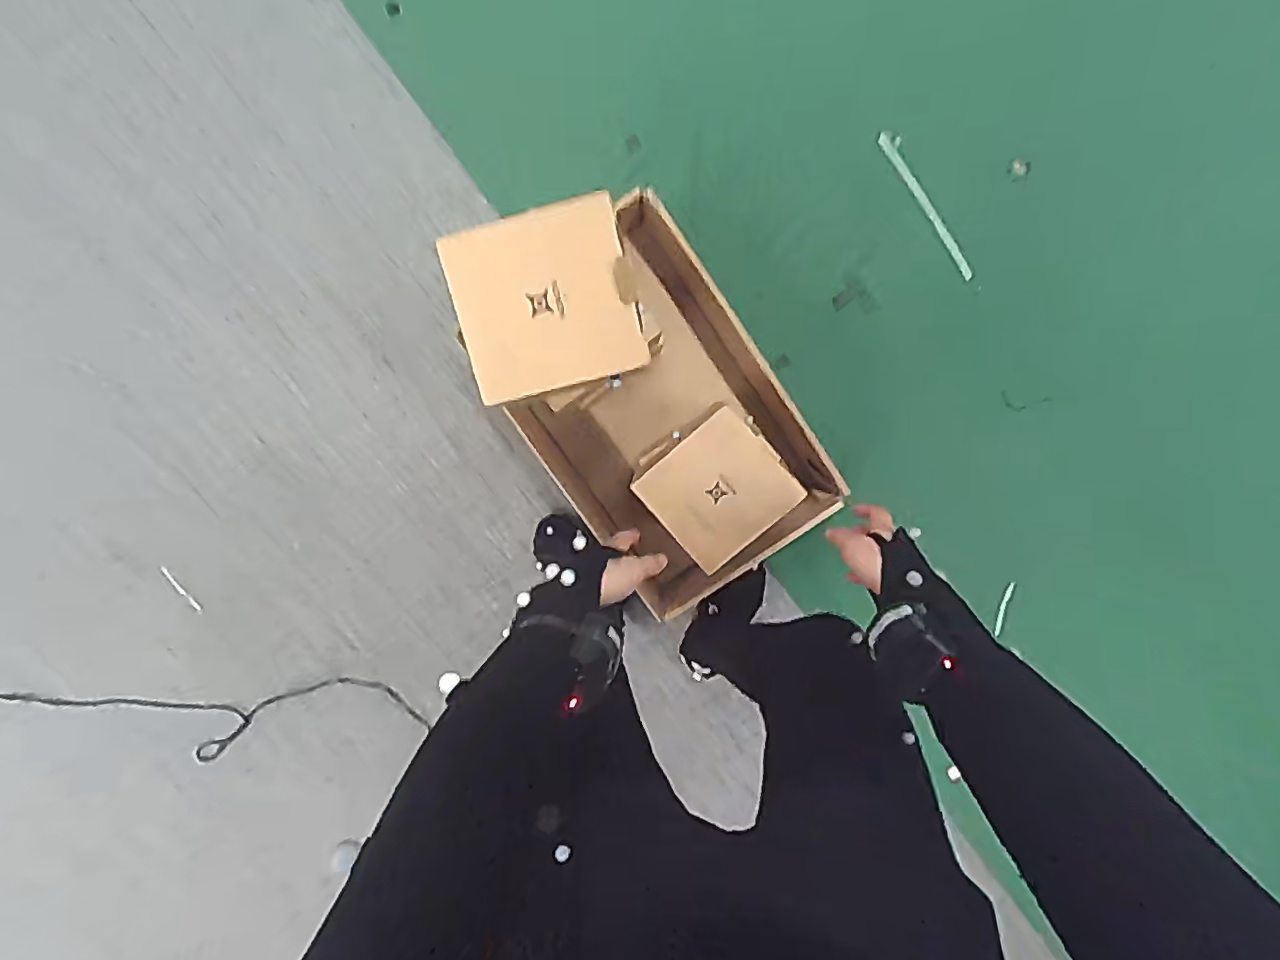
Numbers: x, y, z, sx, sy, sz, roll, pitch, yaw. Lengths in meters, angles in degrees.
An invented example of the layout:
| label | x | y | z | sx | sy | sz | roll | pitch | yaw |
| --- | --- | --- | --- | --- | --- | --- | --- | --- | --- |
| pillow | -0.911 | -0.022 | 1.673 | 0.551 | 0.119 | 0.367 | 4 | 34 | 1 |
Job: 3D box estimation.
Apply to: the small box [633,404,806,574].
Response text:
| label | x | y | z | sx | sy | sz | roll | pitch | yaw |
| --- | --- | --- | --- | --- | --- | --- | --- | --- | --- |
| small box | 0.109 | 0.002 | 0.798 | 0.179 | 0.176 | 0.168 | -41 | 94 | 8 |

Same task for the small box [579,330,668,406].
| label | x | y | z | sx | sy | sz | roll | pitch | yaw |
| --- | --- | --- | --- | --- | --- | --- | --- | --- | --- |
| small box | -0.073 | -0.244 | 0.926 | 0.179 | 0.176 | 0.168 | -37 | 97 | 5 |

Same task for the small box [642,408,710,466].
| label | x | y | z | sx | sy | sz | roll | pitch | yaw |
| --- | --- | --- | --- | --- | --- | --- | --- | --- | --- |
| small box | 0.115 | -0.021 | 0.960 | 0.179 | 0.176 | 0.168 | -31 | 96 | 5 |

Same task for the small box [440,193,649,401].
| label | x | y | z | sx | sy | sz | roll | pitch | yaw |
| --- | --- | --- | --- | --- | --- | --- | --- | --- | --- |
| small box | -0.091 | -0.186 | 0.605 | 0.179 | 0.176 | 0.168 | -14 | 99 | 2 |

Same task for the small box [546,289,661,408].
| label | x | y | z | sx | sy | sz | roll | pitch | yaw |
| --- | --- | --- | --- | --- | --- | --- | --- | --- | --- |
| small box | -0.086 | -0.217 | 0.764 | 0.179 | 0.176 | 0.168 | -36 | 98 | 5 |
